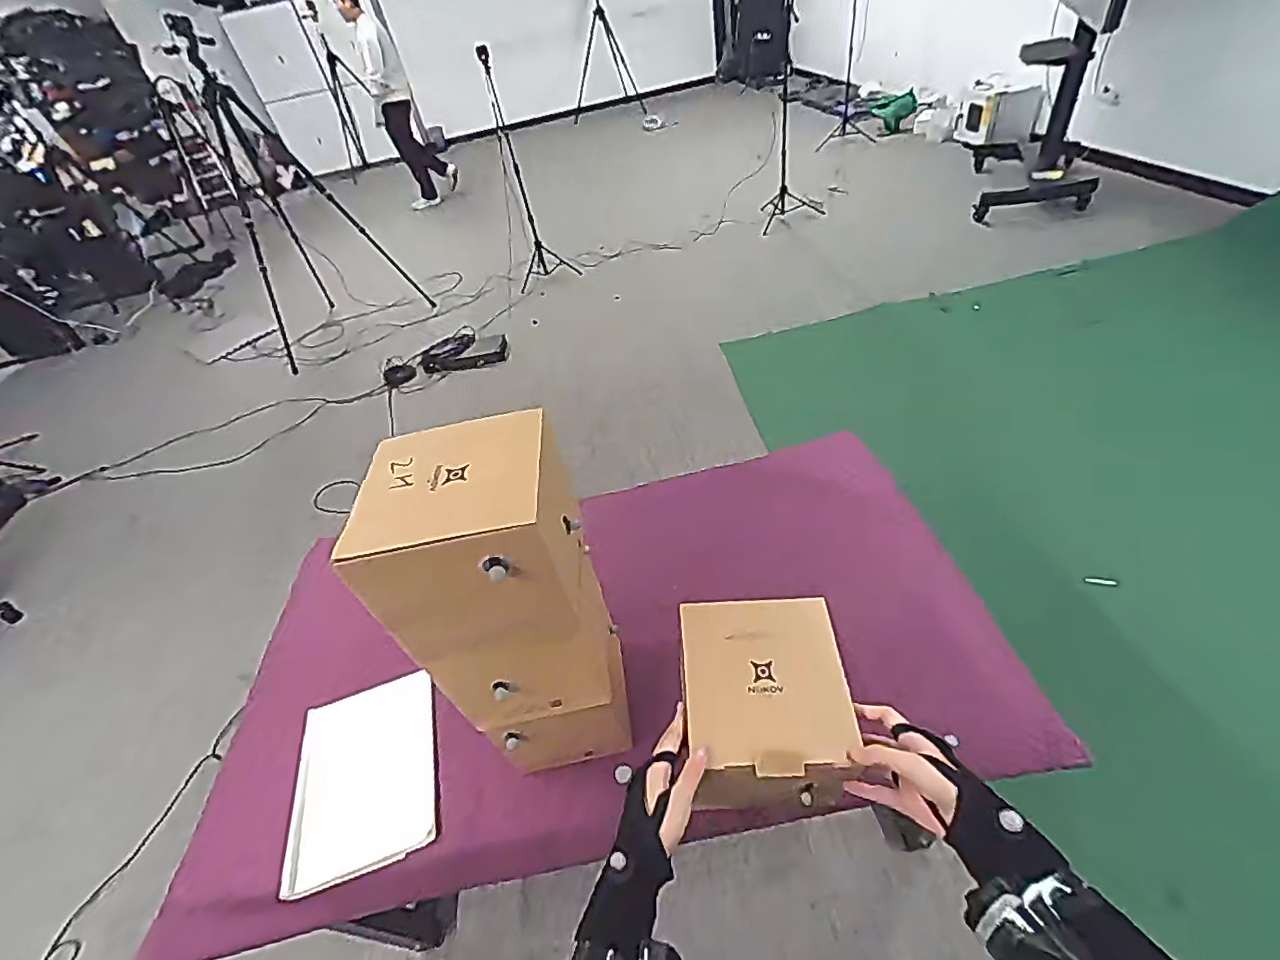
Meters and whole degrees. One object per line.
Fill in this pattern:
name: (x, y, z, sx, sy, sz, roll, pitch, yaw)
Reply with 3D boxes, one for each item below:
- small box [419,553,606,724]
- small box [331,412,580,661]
small box: (-0.142, 0.177, 0.660, 0.168, 0.176, 0.179, -12, 41, 1)
small box: (-0.160, 0.059, 0.546, 0.179, 0.176, 0.168, -11, 41, 2)
